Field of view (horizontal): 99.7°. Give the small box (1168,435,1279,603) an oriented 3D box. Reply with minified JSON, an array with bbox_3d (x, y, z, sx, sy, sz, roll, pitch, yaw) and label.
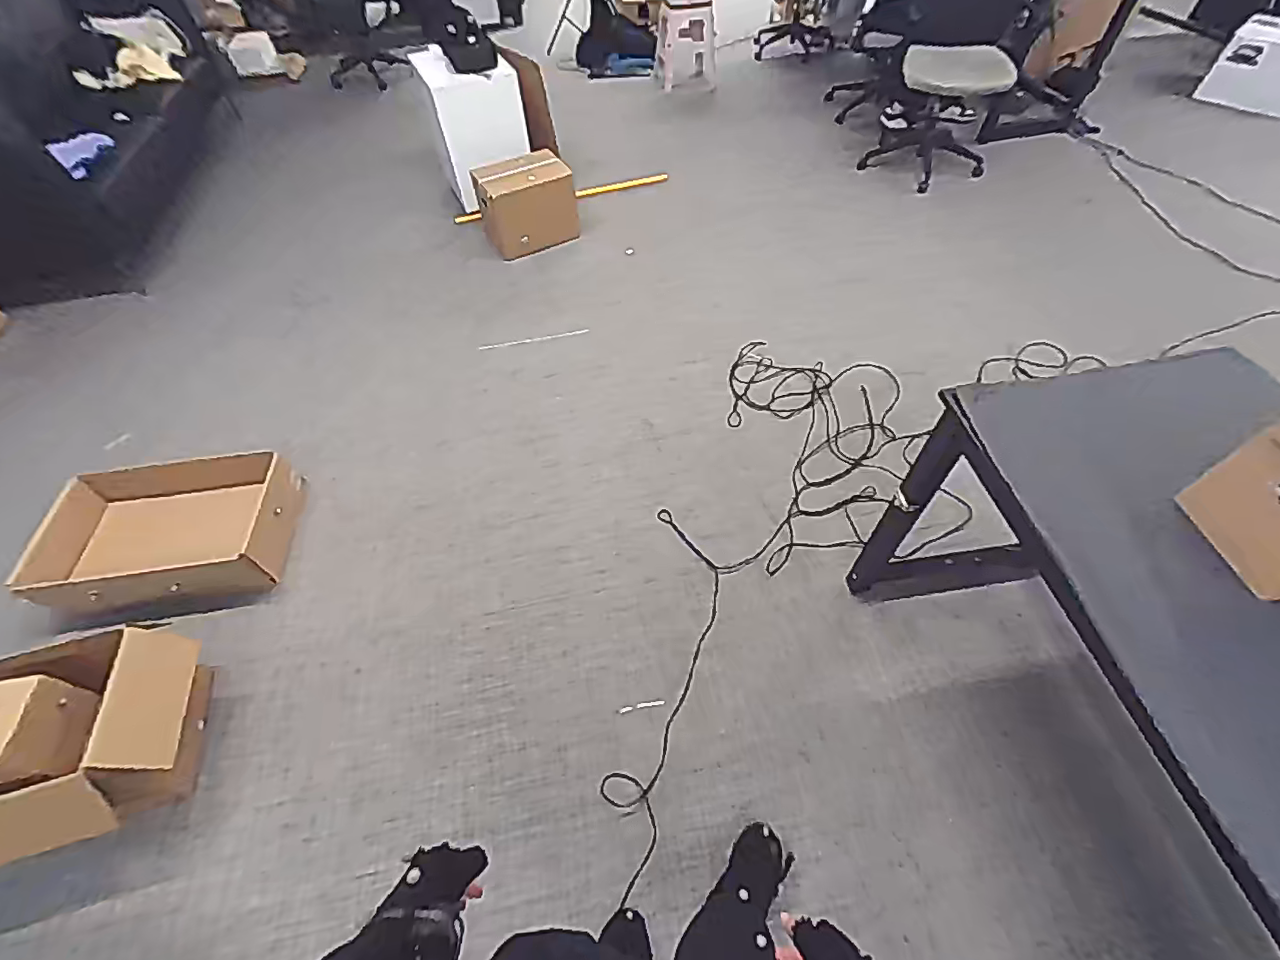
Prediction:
[{"bbox_3d":[0.915,0.051,0.750,0.168,0.176,0.179,-5,53,-3],"label":"small box"}]
